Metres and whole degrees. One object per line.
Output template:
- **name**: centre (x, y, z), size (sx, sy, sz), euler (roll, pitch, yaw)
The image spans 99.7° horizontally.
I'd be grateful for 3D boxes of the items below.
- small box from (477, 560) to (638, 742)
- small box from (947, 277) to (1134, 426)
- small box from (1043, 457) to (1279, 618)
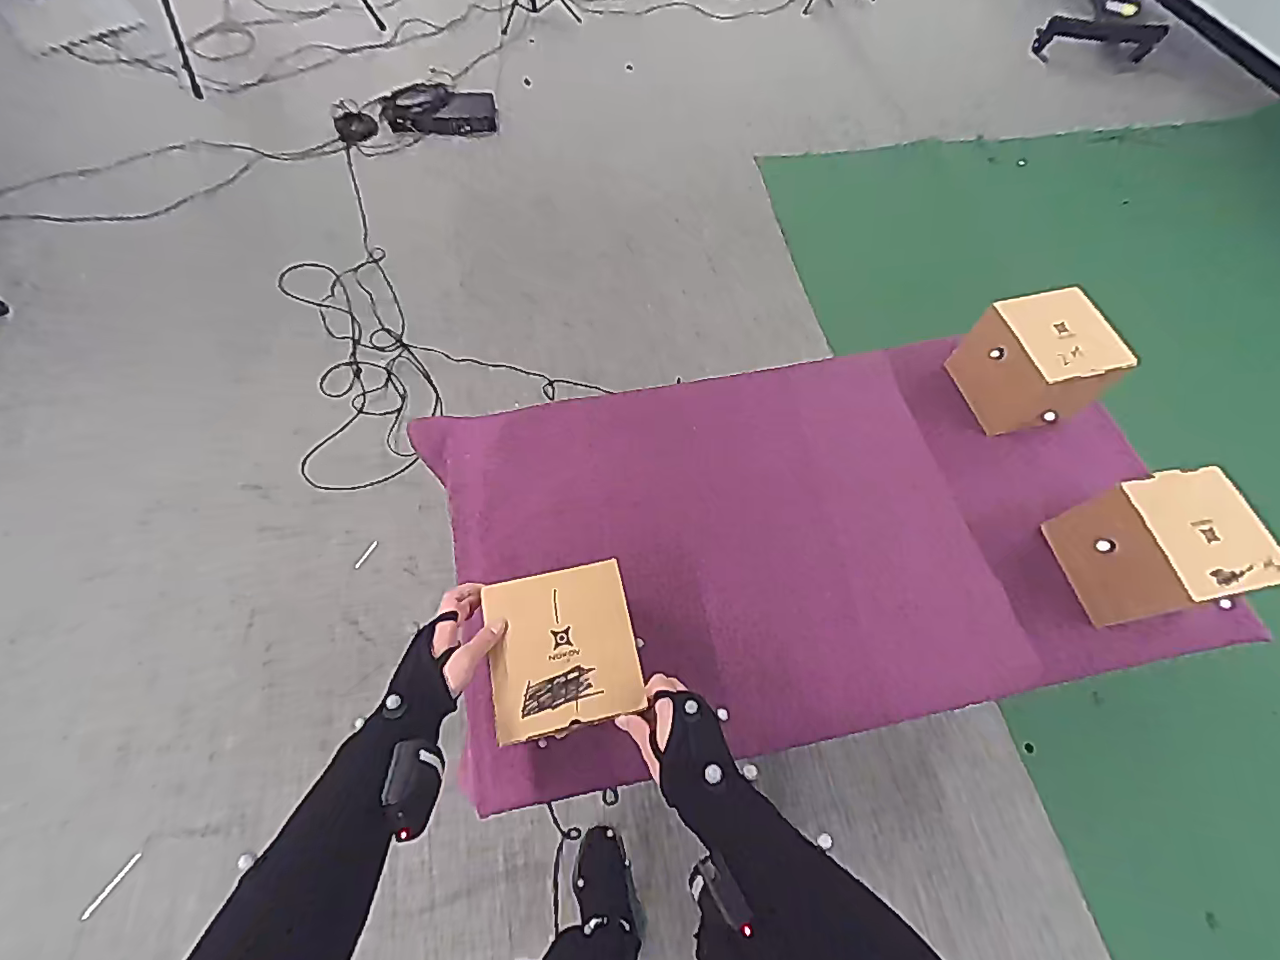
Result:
- **small box**: centre (-0.100, 0.221, 0.700), size (0.168, 0.176, 0.179), euler (-12, 68, -7)
- **small box**: centre (0.688, -0.222, 0.958), size (0.168, 0.176, 0.179), euler (-13, 66, -4)
- **small box**: centre (0.762, 0.091, 0.806), size (0.168, 0.176, 0.179), euler (-11, 65, -4)
